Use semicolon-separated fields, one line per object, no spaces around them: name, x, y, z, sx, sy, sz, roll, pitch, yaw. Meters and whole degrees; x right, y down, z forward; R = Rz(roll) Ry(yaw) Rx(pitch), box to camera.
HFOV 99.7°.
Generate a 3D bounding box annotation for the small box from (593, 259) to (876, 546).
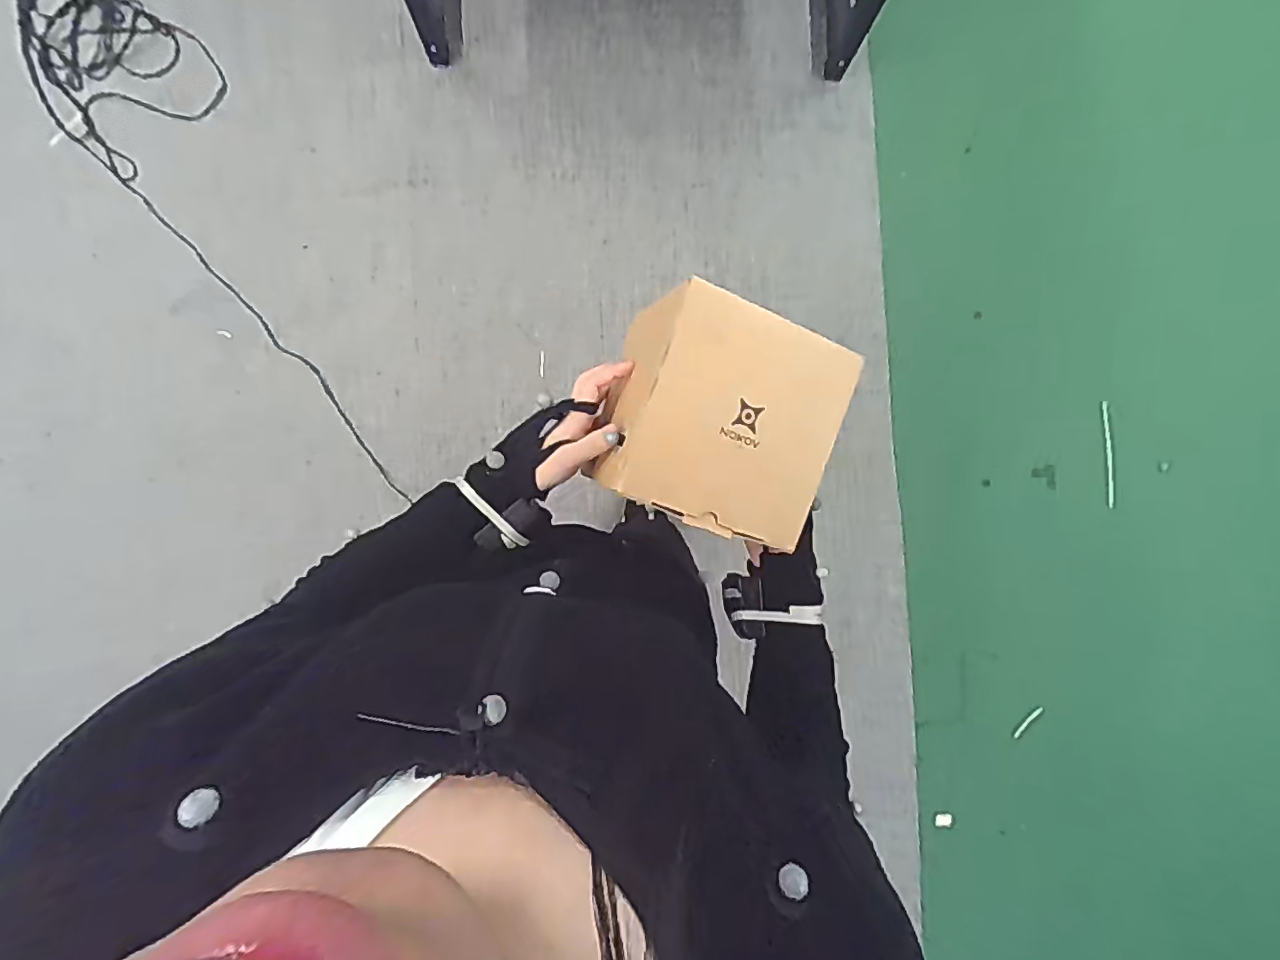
small box;0.067;-0.062;0.487;0.168;0.176;0.179;19;91;-16
